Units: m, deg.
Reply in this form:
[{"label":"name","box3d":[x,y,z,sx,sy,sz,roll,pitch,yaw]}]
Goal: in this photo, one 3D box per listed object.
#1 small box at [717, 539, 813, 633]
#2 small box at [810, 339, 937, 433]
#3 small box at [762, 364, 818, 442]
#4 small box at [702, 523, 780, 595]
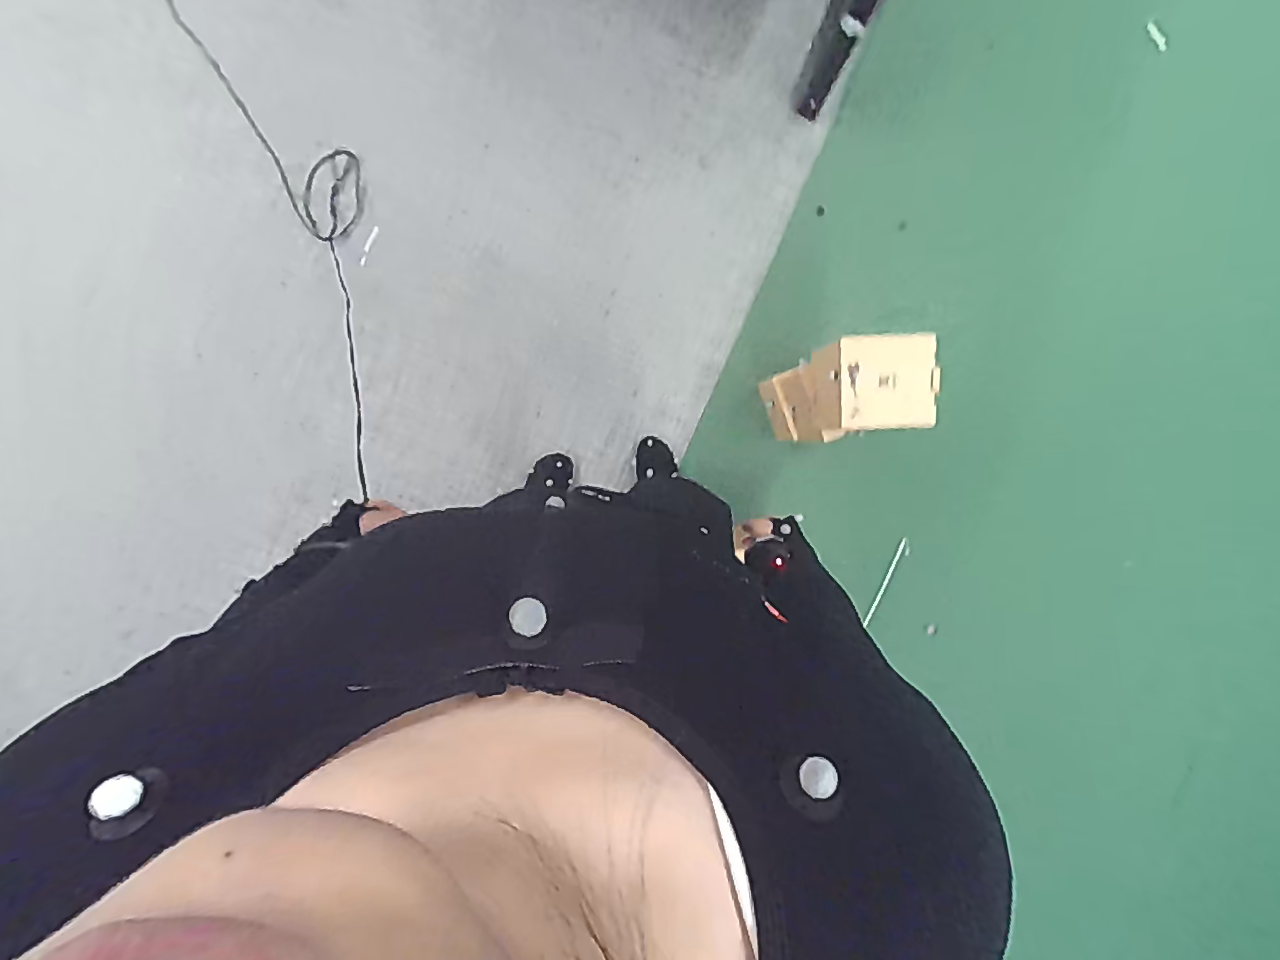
[{"label":"small box","box3d":[0.278,0.236,1.246,0.179,0.176,0.168,6,95,-1]},{"label":"small box","box3d":[0.446,-0.177,1.051,0.179,0.176,0.168,-2,94,0]},{"label":"small box","box3d":[0.425,-0.200,1.379,0.179,0.176,0.168,-21,94,1]},{"label":"small box","box3d":[0.271,0.218,1.408,0.179,0.176,0.168,-15,94,2]}]
